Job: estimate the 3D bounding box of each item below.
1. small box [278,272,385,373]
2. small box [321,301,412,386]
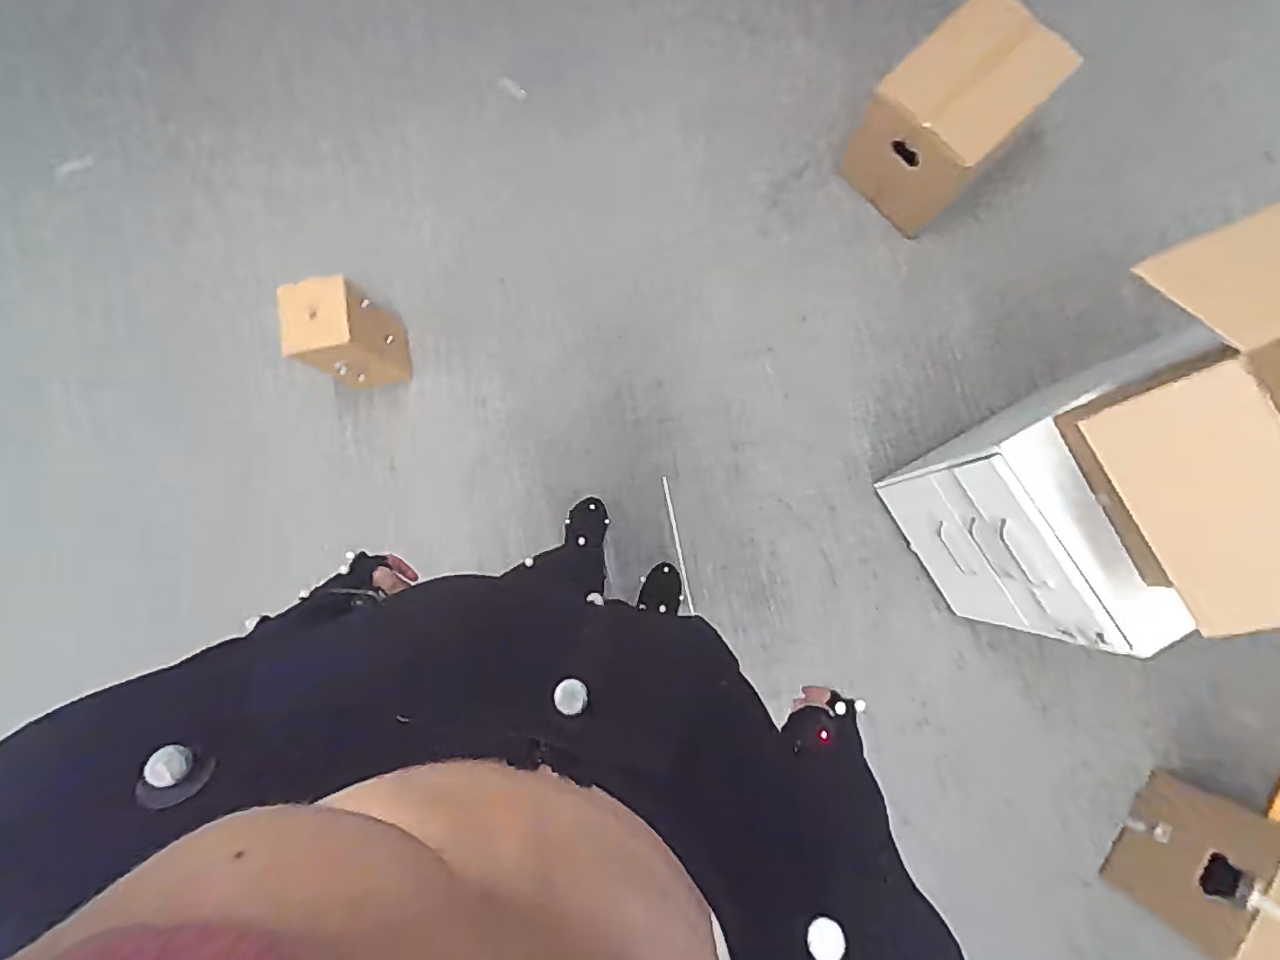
[{"bbox_3d":[-0.768,-0.389,1.357,0.168,0.176,0.179,-10,83,2],"label":"small box"},{"bbox_3d":[-0.769,-0.375,1.520,0.179,0.176,0.168,-10,82,1],"label":"small box"}]
